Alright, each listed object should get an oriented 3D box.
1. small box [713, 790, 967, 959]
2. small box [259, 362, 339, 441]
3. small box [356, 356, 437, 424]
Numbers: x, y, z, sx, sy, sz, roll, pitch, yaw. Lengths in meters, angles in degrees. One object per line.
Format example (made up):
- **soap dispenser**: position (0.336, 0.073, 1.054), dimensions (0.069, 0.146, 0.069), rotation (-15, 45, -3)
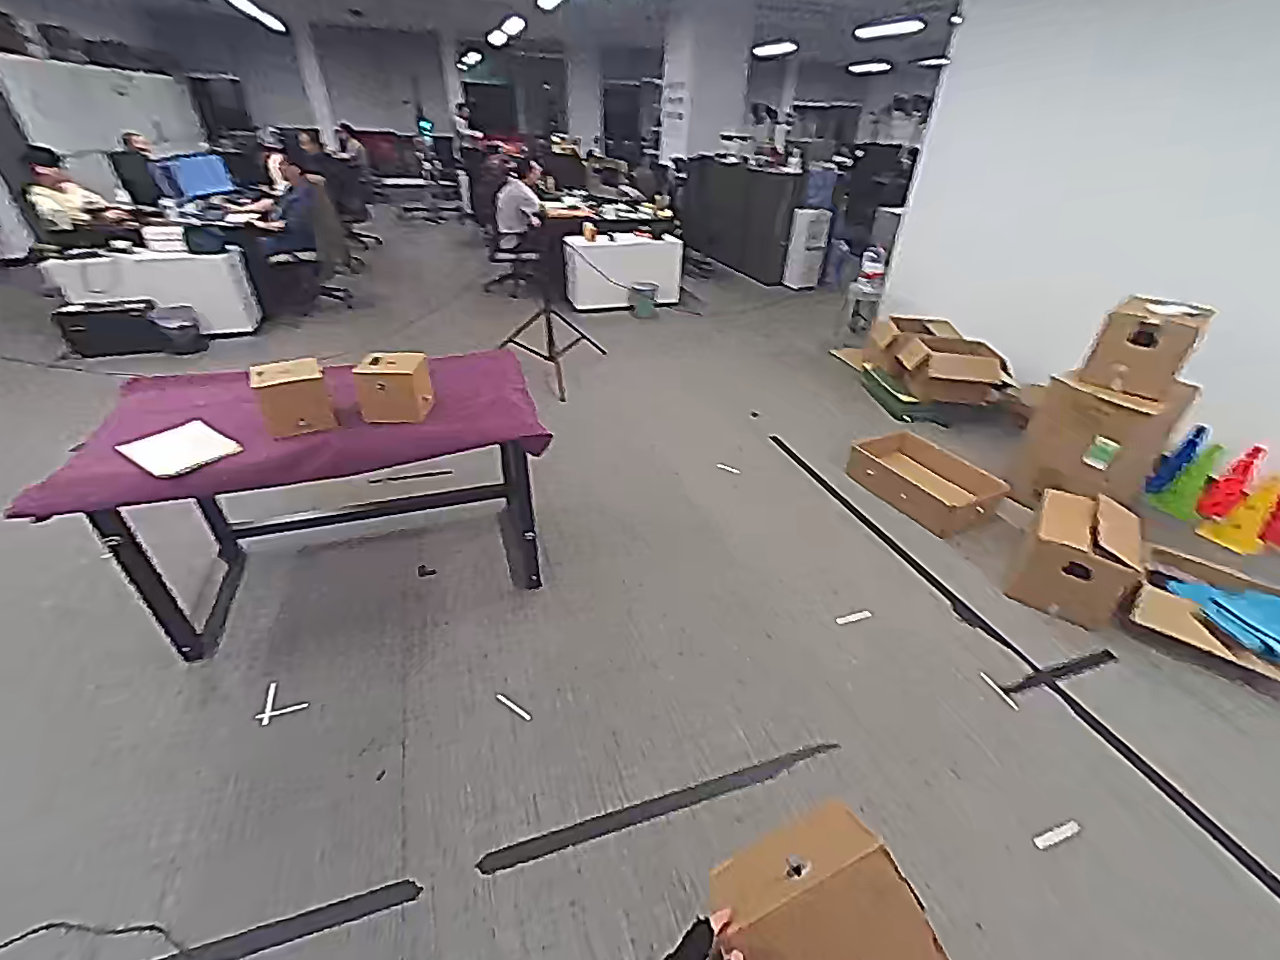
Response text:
- **small box**: position (0.184, 0.436, 0.526), dimensions (0.179, 0.176, 0.168), rotation (-28, 71, -5)
- **small box**: position (-1.028, -0.239, 1.638), dimensions (0.179, 0.176, 0.168), rotation (-16, 37, -26)
- **small box**: position (-0.764, -0.285, 1.717), dimensions (0.179, 0.176, 0.168), rotation (-1, 33, -4)
